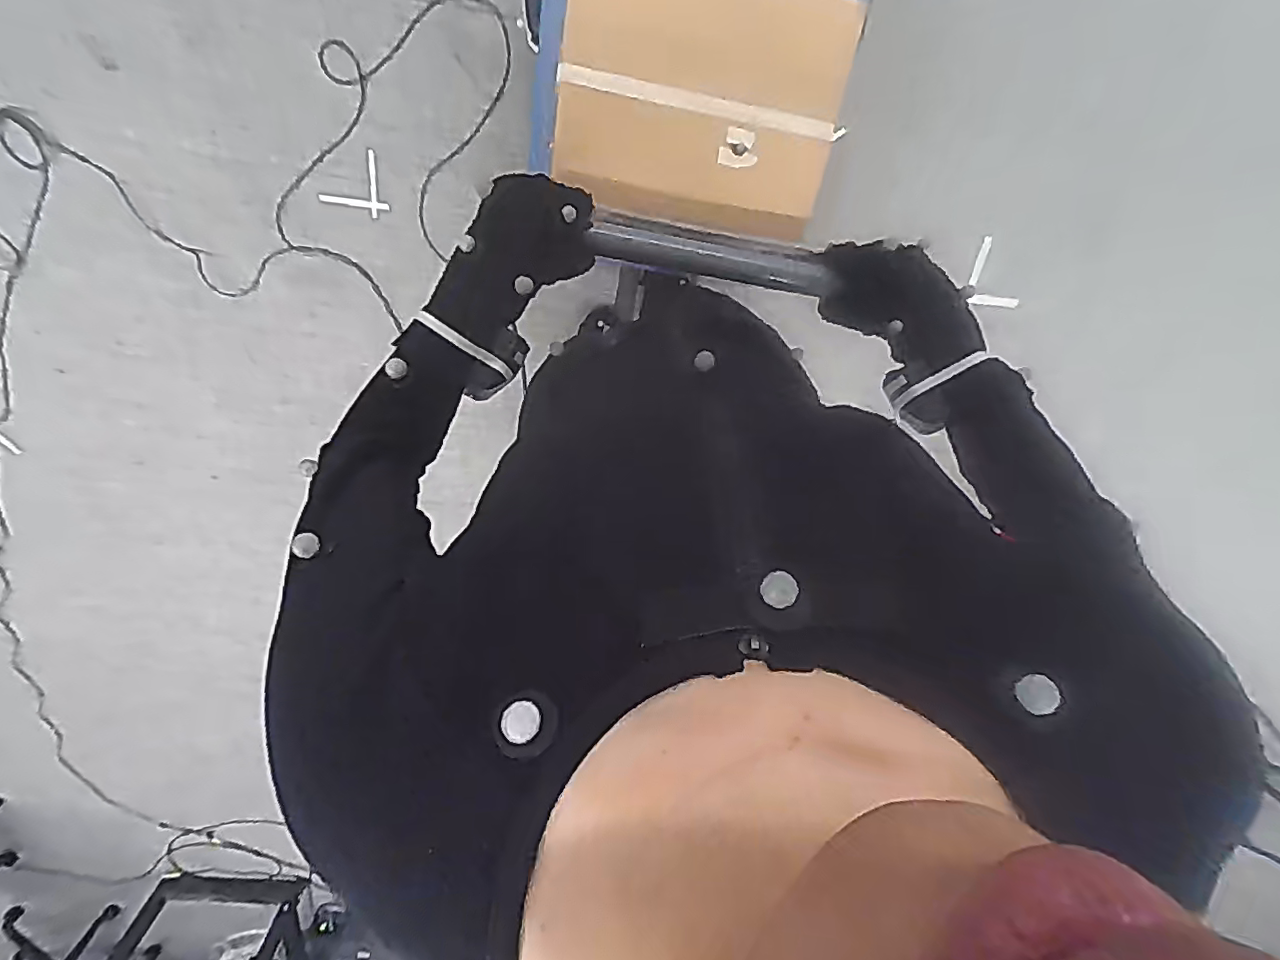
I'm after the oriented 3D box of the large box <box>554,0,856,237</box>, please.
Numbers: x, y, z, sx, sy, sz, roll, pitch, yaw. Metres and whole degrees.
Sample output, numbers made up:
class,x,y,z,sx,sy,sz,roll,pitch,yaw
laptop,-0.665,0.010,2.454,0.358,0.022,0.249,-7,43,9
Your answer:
class,x,y,z,sx,sy,sz,roll,pitch,yaw
large box,0.074,-0.615,0.924,0.408,0.320,0.320,7,114,-8
